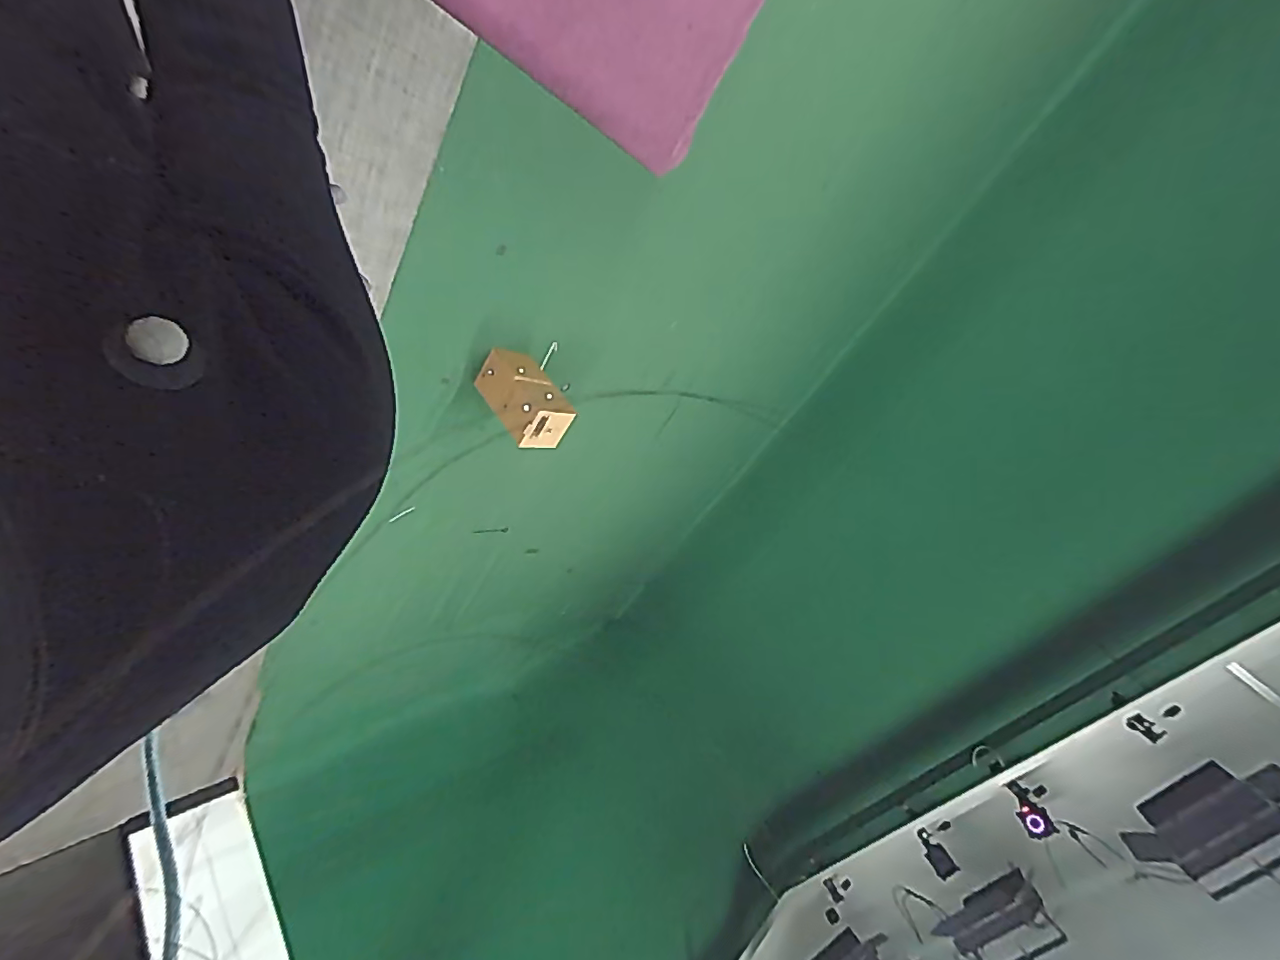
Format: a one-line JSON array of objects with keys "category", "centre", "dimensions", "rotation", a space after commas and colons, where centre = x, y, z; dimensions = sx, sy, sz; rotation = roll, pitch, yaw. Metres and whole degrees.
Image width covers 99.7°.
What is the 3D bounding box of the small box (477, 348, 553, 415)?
[{"category": "small box", "centre": [-0.458, -0.360, 1.974], "dimensions": [0.179, 0.176, 0.168], "rotation": [-1, 135, -52]}]
